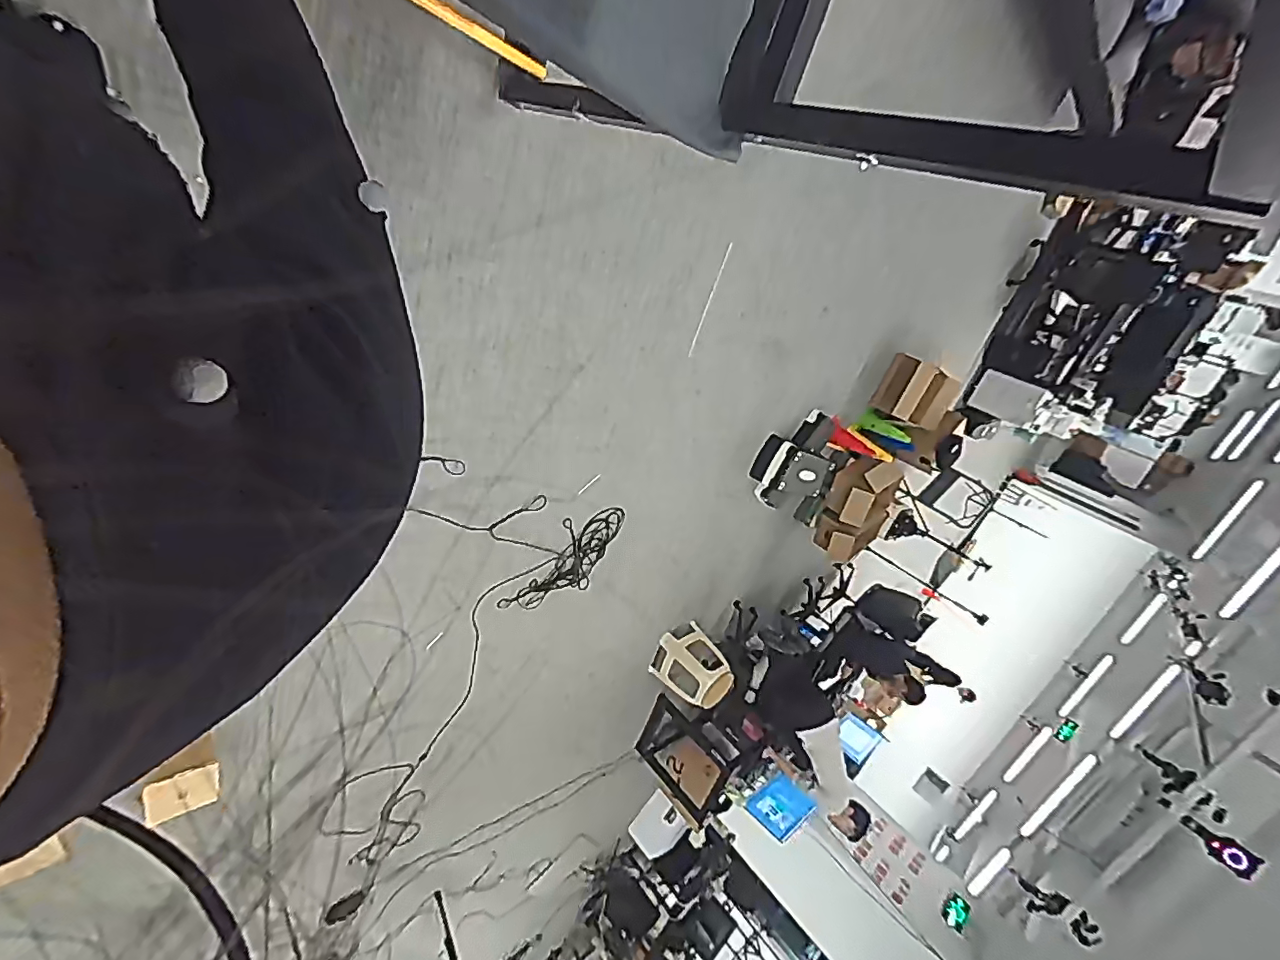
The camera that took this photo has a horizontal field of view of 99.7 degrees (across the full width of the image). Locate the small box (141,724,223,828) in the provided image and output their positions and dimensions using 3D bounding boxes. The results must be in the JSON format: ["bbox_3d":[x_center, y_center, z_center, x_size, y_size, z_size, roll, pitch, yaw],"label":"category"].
[{"bbox_3d":[-1.346,0.862,1.591,0.168,0.176,0.179,-8,123,-45],"label":"small box"}]

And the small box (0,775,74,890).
[{"bbox_3d":[-1.566,0.884,1.363,0.168,0.176,0.179,-12,128,-42],"label":"small box"}]
